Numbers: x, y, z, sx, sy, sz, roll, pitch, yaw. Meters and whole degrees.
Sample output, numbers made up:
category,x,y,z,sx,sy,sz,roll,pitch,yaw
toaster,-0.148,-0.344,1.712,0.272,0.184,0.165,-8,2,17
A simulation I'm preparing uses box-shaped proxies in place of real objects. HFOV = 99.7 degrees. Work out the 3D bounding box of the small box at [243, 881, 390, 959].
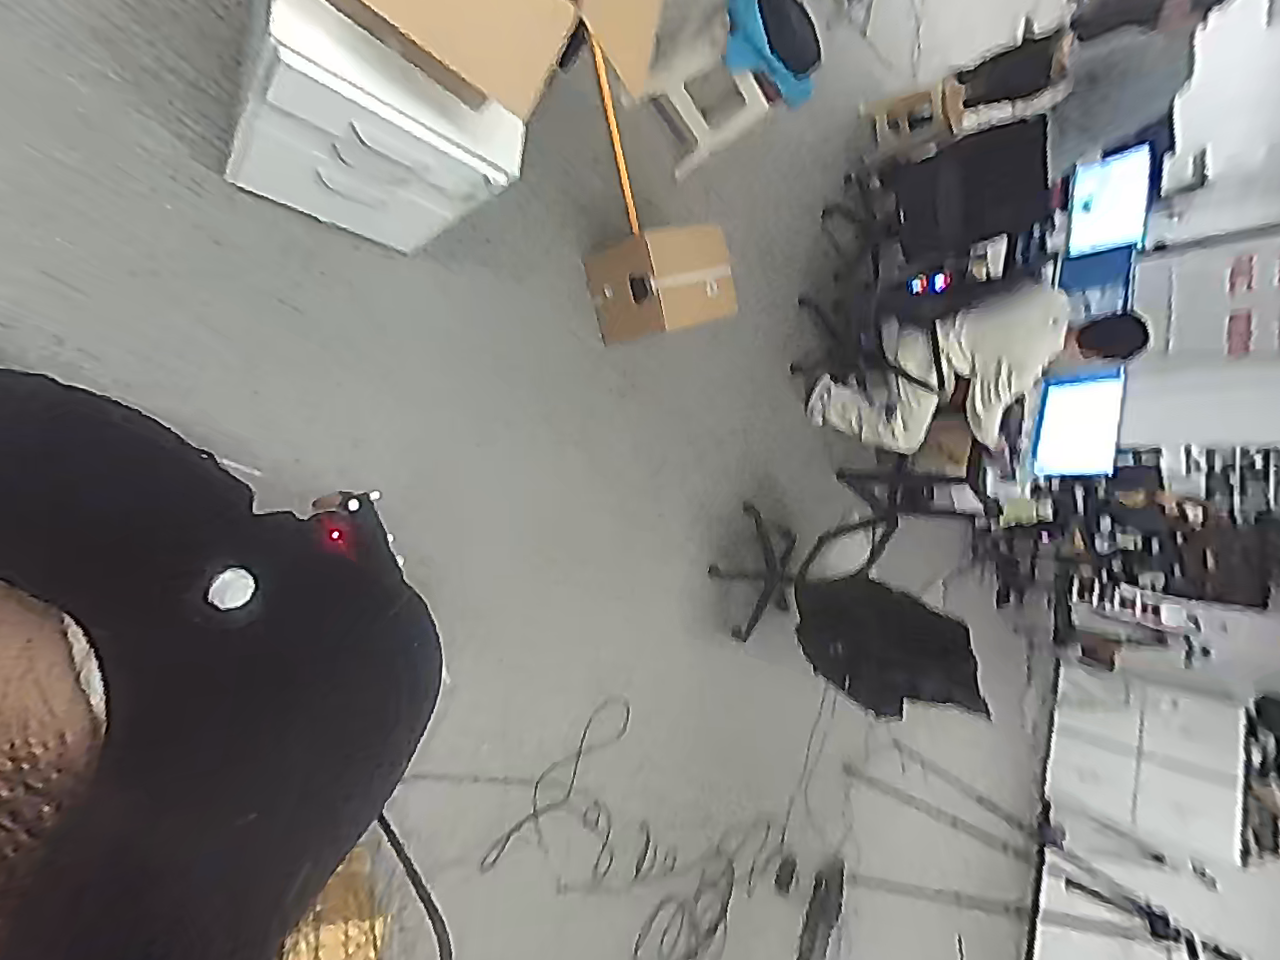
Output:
category,x,y,z,sx,sy,sz,roll,pitch,yaw
small box,-0.593,0.865,0.979,0.179,0.176,0.168,26,73,-39
